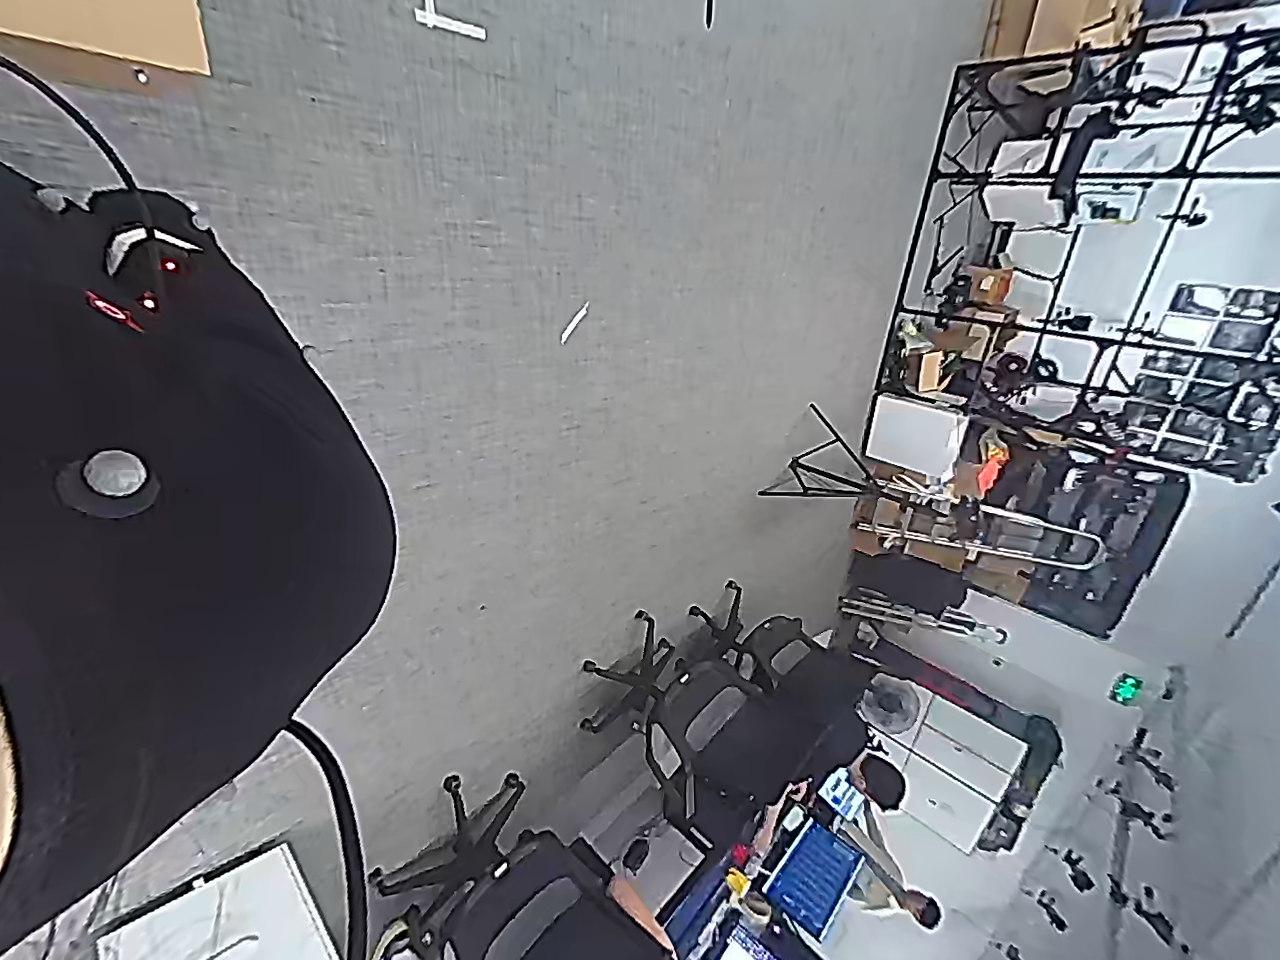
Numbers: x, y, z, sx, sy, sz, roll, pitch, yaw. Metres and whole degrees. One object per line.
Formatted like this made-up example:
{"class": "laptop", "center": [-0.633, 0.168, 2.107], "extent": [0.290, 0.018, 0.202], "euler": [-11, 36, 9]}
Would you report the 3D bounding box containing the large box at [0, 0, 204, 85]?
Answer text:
{"class": "large box", "center": [-0.852, -0.714, 0.658], "extent": [0.408, 0.320, 0.320], "euler": [-22, 126, -44]}
